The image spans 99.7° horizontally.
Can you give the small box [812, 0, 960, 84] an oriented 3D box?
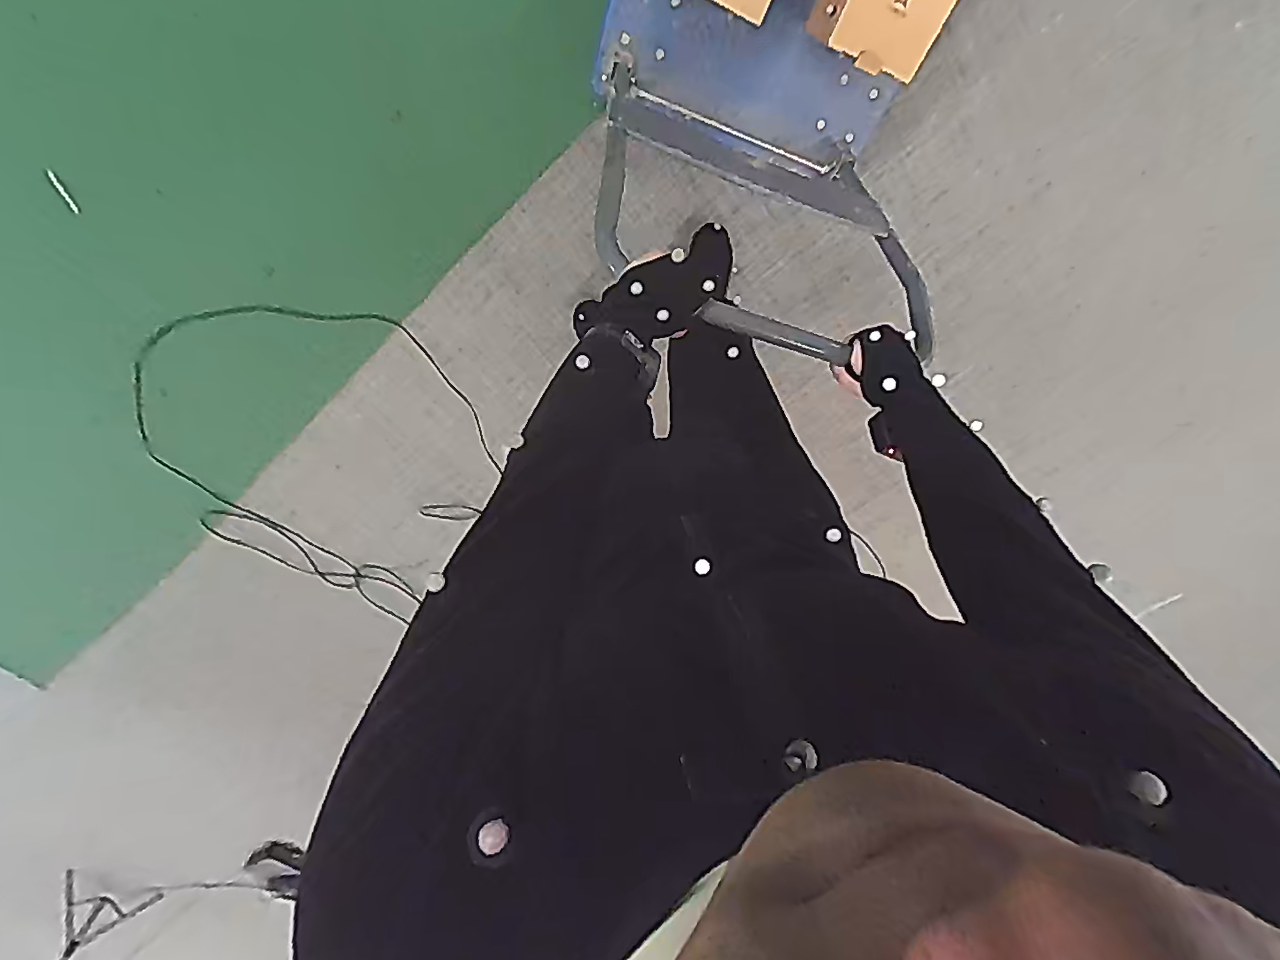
[{"bbox_3d":[0.410,-0.806,0.896,0.168,0.176,0.179,13,136,-15],"label":"small box"}]
